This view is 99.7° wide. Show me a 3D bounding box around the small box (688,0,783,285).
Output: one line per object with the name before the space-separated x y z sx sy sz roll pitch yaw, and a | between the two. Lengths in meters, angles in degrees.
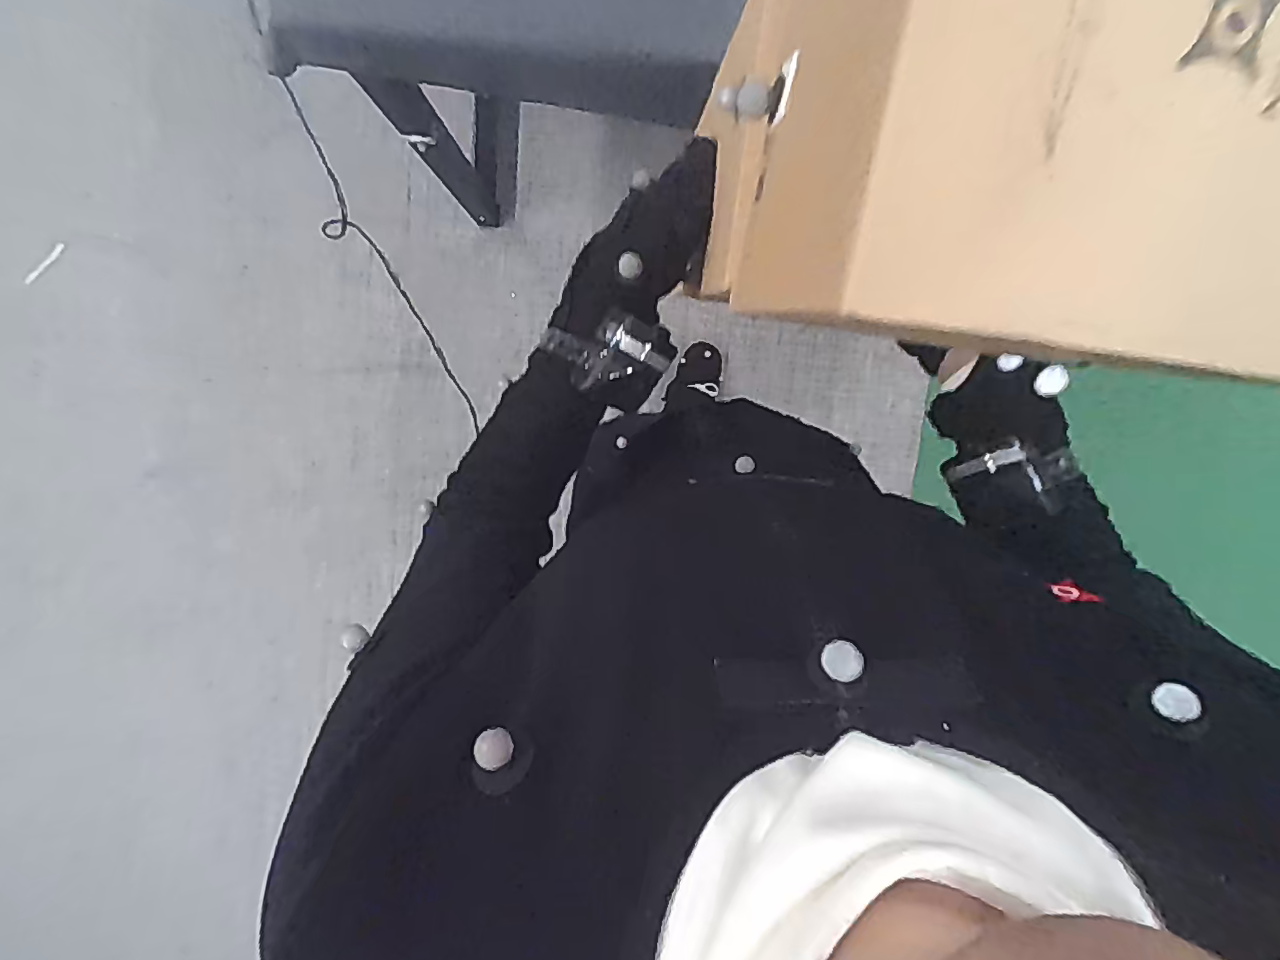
small box | 0.139 -0.215 0.360 0.179 0.176 0.168 5 106 -5

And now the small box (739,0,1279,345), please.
small box | 0.152 -0.150 0.211 0.179 0.176 0.168 6 106 -3
